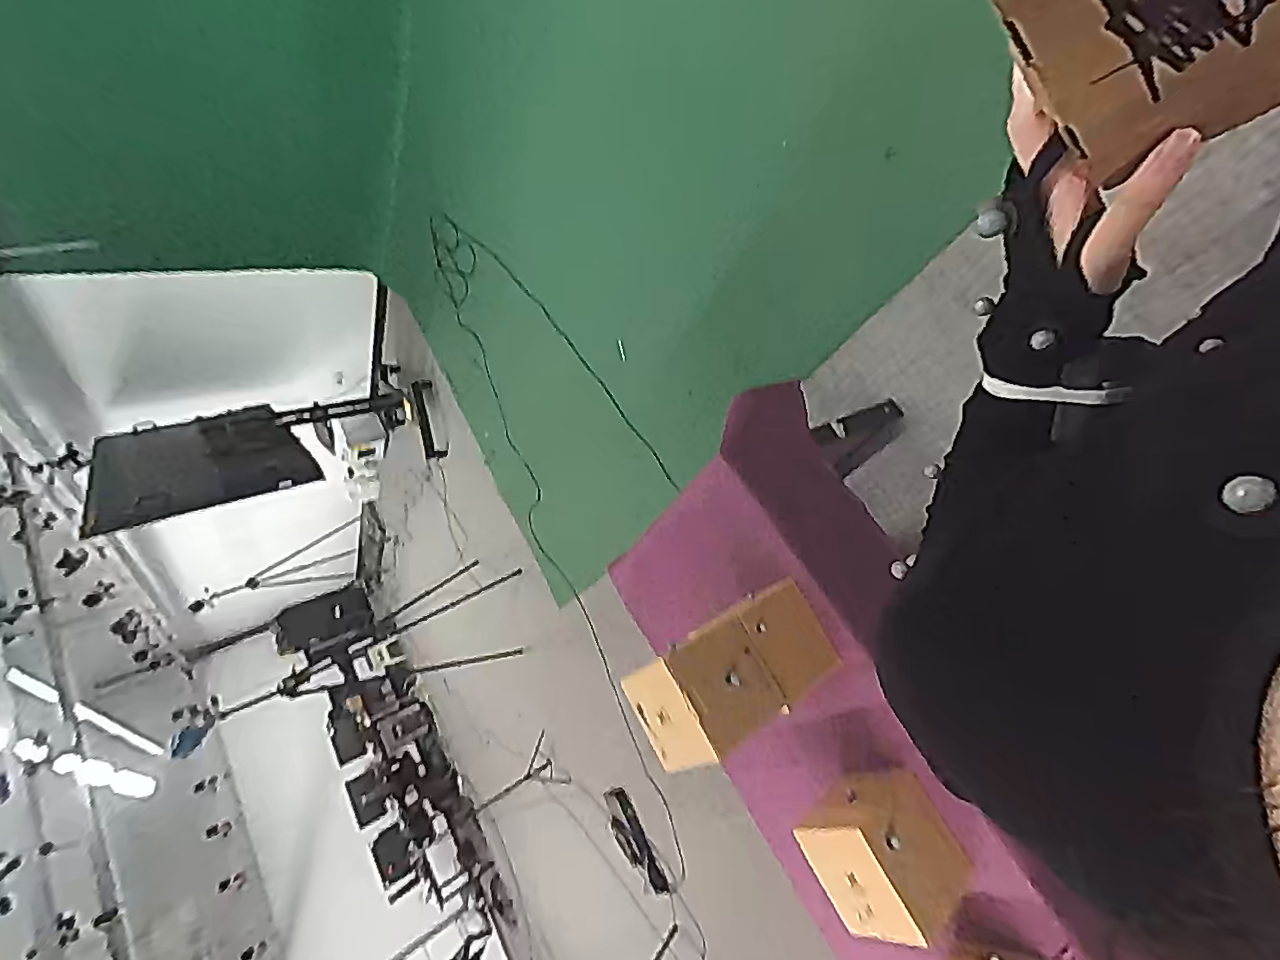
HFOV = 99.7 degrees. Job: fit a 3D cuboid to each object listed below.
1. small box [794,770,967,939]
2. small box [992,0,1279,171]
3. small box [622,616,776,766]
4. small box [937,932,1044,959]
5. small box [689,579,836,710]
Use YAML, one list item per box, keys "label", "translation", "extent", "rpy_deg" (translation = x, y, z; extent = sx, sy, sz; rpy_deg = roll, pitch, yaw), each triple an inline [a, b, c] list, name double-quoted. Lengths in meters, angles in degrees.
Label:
- label: "small box"
  translation: [0.407, 0.620, 0.923]
  extent: [0.179, 0.176, 0.168]
  rpy_deg: [59, 142, 15]
- label: "small box"
  translation: [0.226, -0.265, 0.187]
  extent: [0.179, 0.168, 0.176]
  rpy_deg: [-16, 71, 49]
- label: "small box"
  translation: [0.105, 0.354, 0.919]
  extent: [0.168, 0.176, 0.179]
  rpy_deg: [60, 141, 16]
- label: "small box"
  translation: [0.566, 0.856, 0.826]
  extent: [0.168, 0.176, 0.179]
  rpy_deg: [-43, 70, 50]
- label: "small box"
  translation: [0.231, 0.313, 1.016]
  extent: [0.179, 0.176, 0.168]
  rpy_deg: [62, 142, 13]
